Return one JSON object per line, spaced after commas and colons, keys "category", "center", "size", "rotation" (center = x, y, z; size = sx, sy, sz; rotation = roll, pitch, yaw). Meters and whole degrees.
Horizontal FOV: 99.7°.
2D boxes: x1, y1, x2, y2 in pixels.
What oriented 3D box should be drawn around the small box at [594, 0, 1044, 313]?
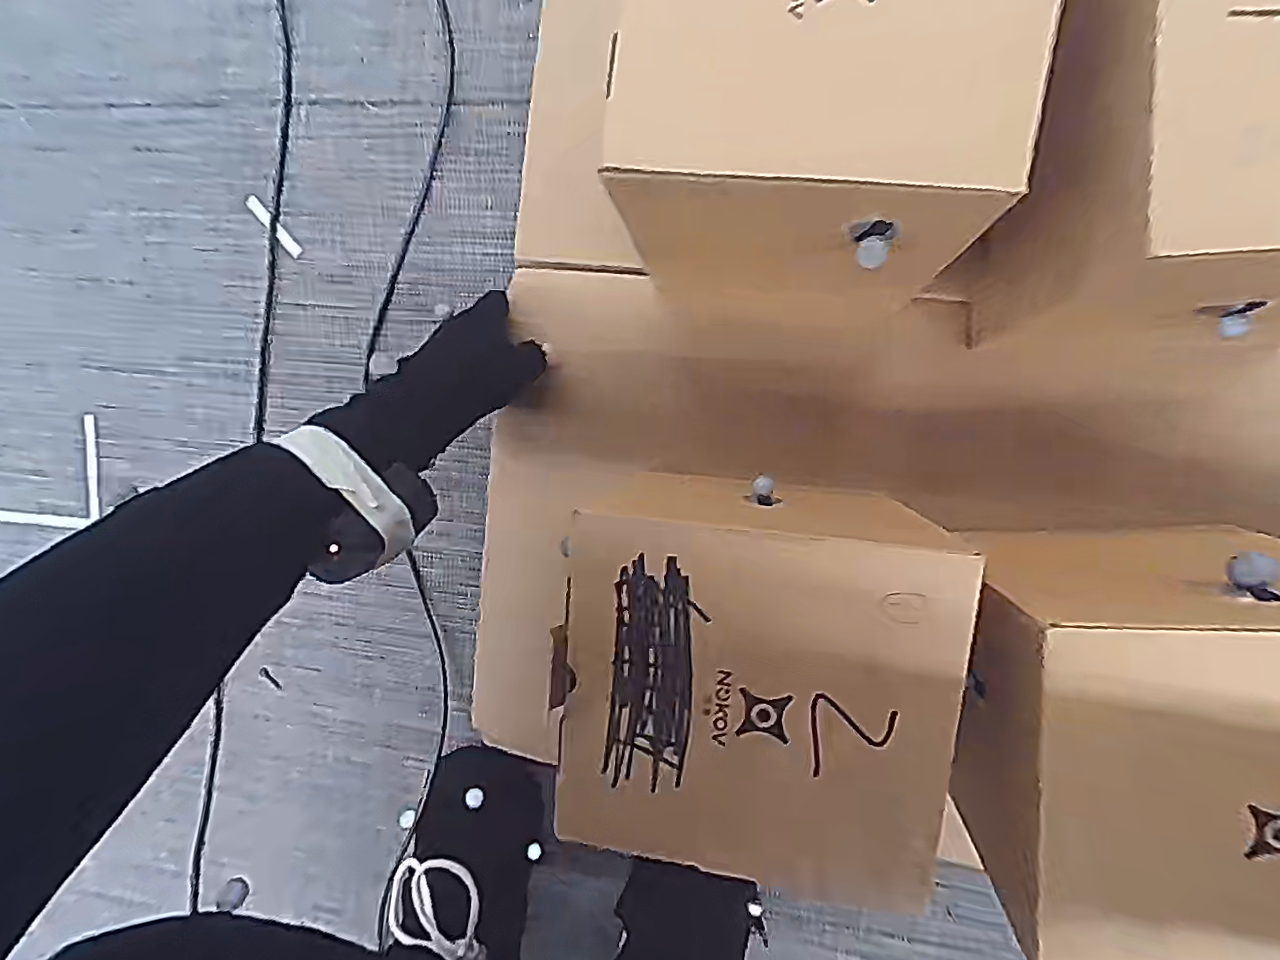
{"category": "small box", "center": [0.090, -0.203, 0.307], "size": [0.179, 0.176, 0.168], "rotation": [10, 93, 11]}
